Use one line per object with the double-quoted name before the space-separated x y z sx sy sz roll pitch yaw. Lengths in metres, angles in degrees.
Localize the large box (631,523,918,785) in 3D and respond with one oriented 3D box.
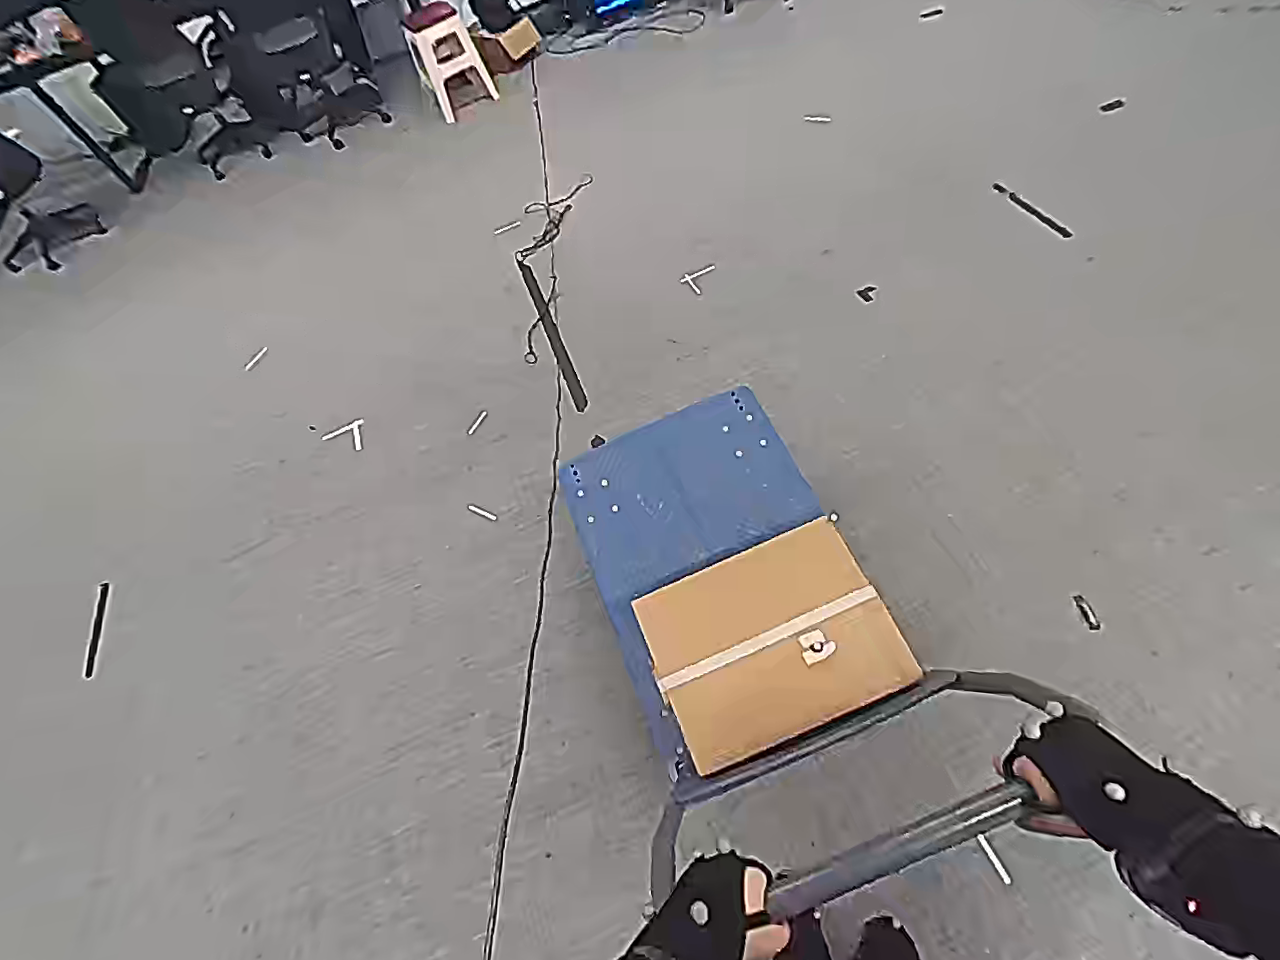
"large box" 0.240 0.344 1.067 0.408 0.320 0.320 -24 66 -1
